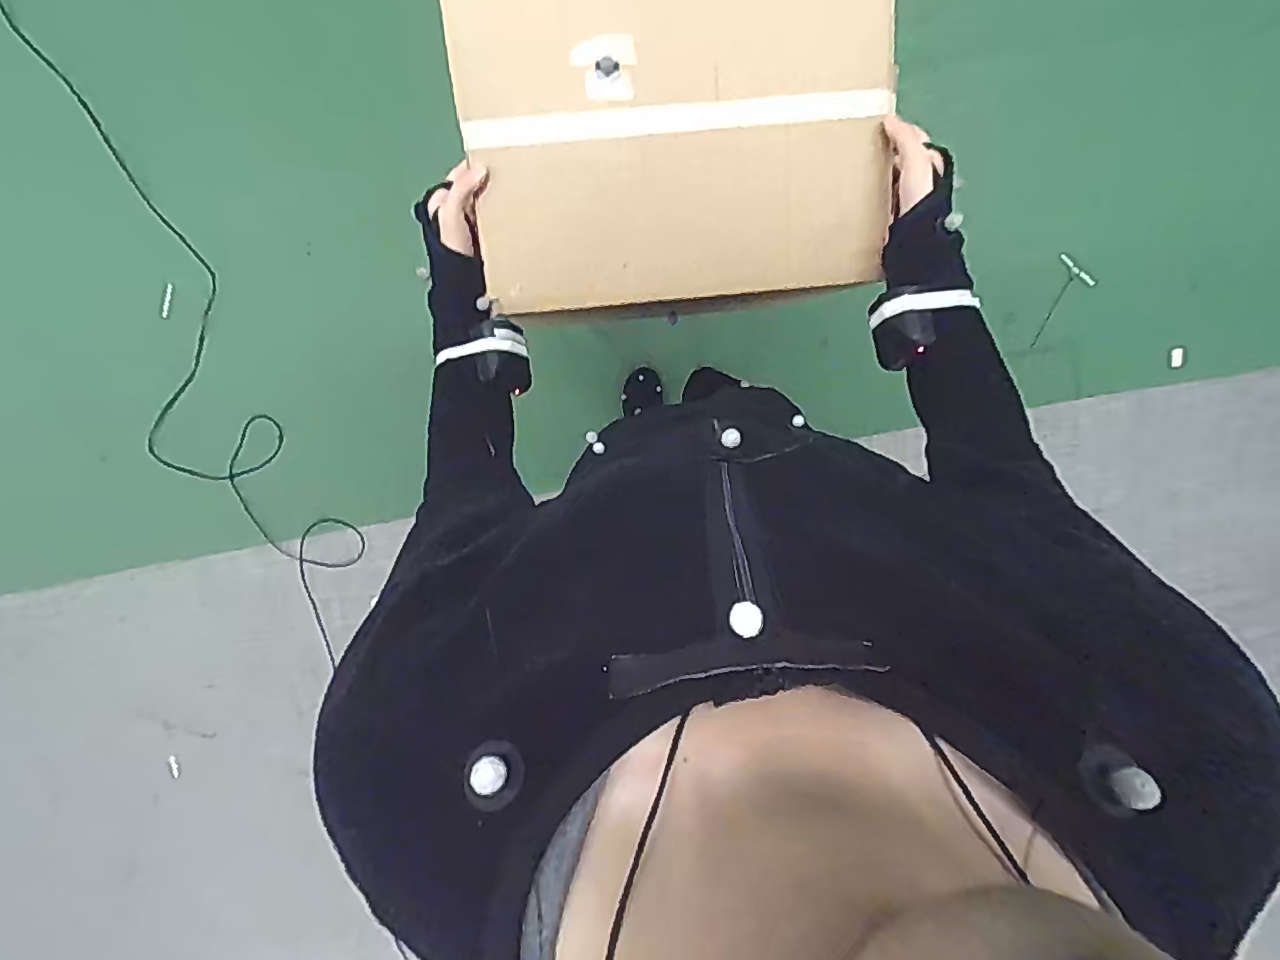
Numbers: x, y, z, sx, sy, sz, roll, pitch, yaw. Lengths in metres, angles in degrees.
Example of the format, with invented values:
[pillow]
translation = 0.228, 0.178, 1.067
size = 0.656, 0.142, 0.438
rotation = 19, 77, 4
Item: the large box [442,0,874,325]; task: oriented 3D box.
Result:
[large box]
translation = 0.024, -0.371, 0.667
size = 0.408, 0.320, 0.320
rotation = -6, 103, -2
